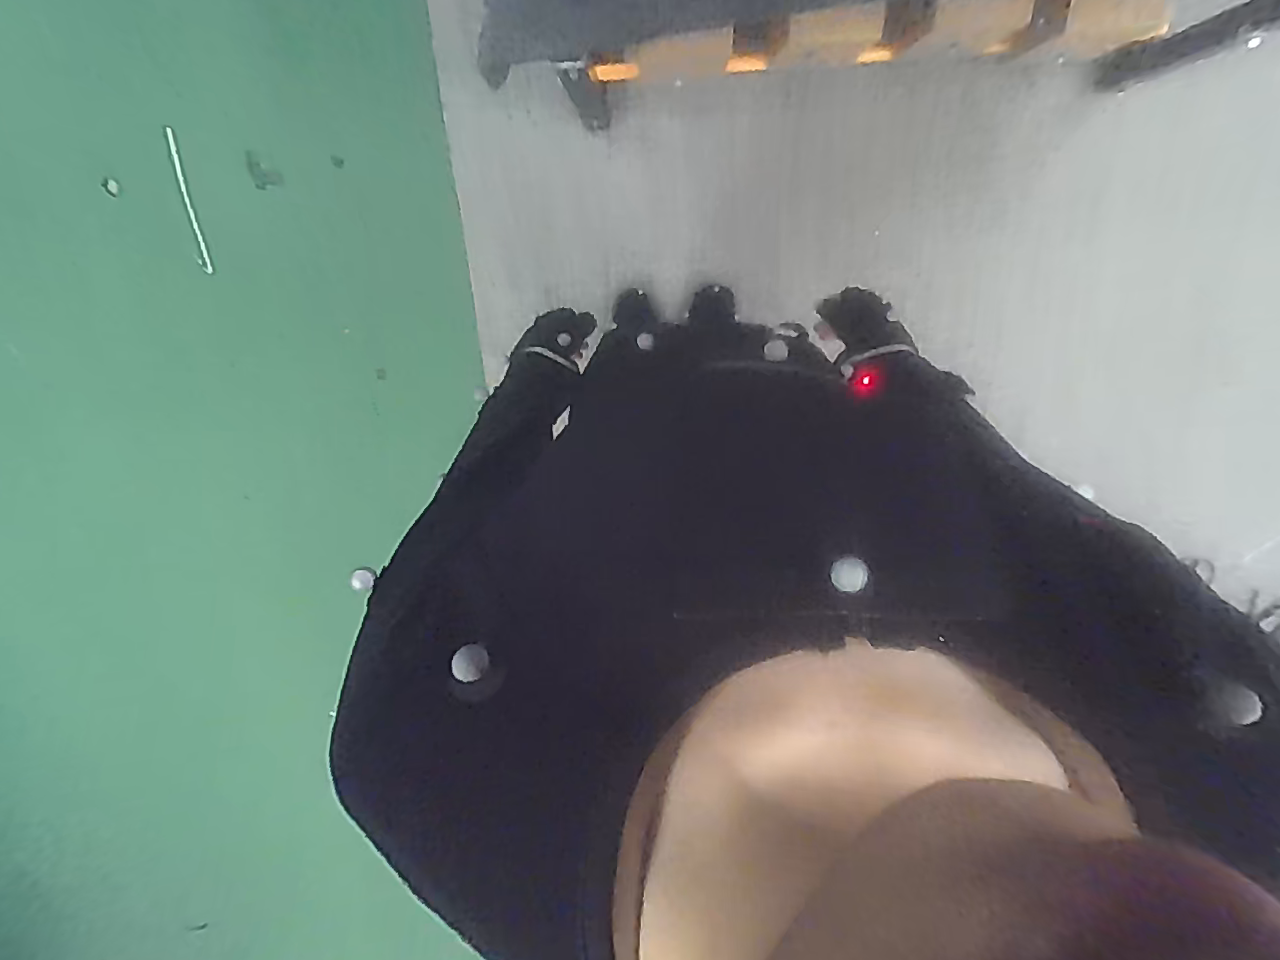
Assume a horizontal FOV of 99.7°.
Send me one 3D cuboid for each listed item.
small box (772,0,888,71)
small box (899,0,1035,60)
[{"bbox_3d":[0.342,-0.871,0.984,0.168,0.176,0.179,-1,112,2],"label":"small box"},{"bbox_3d":[0.587,-0.884,0.972,0.168,0.176,0.179,-2,112,3],"label":"small box"}]
